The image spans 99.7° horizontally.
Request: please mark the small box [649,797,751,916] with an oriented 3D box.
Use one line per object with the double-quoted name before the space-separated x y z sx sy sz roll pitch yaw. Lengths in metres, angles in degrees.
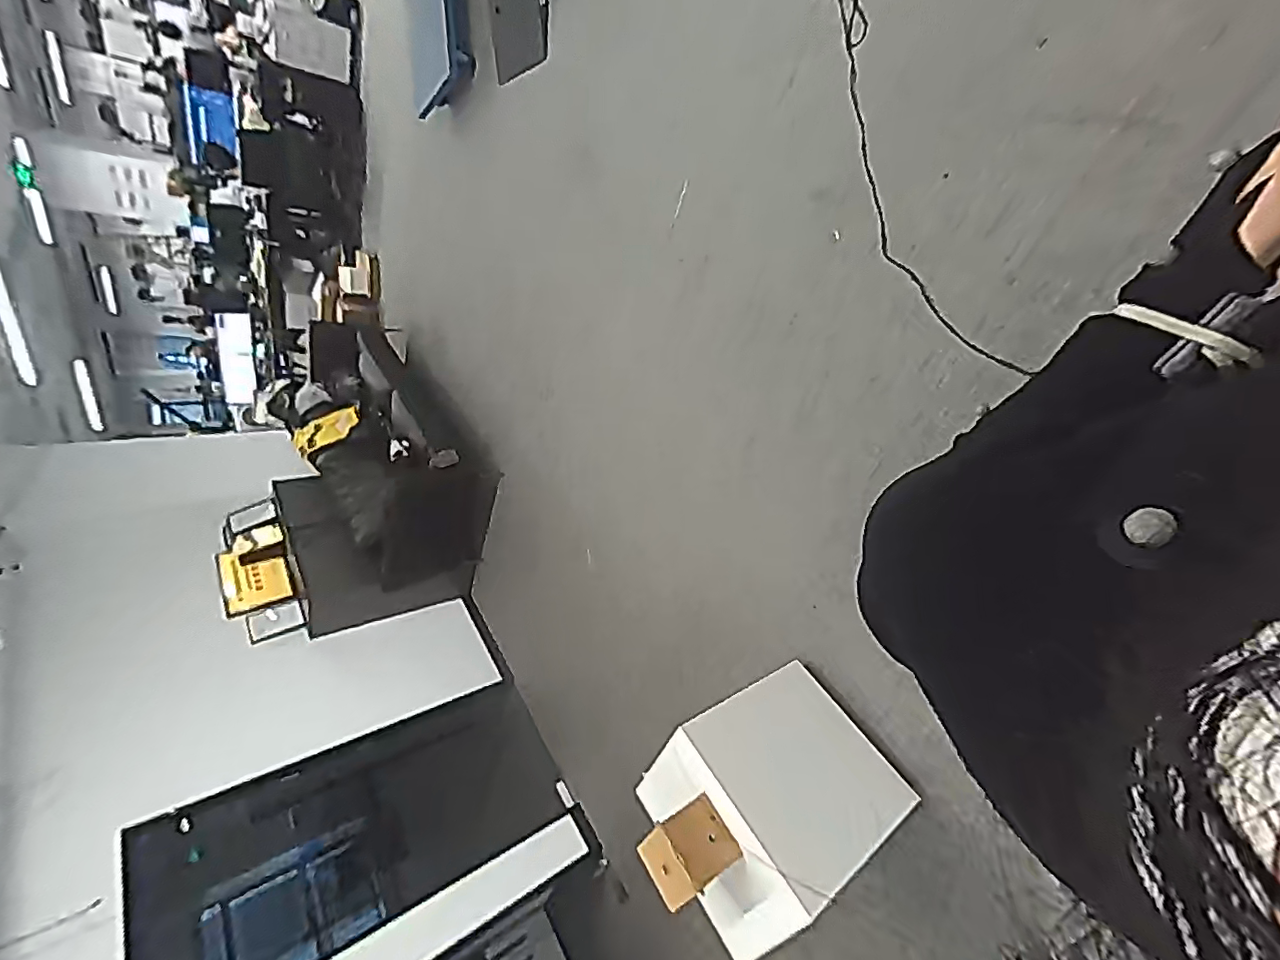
"small box" 0.156 0.965 1.395 0.168 0.176 0.179 50 133 33
